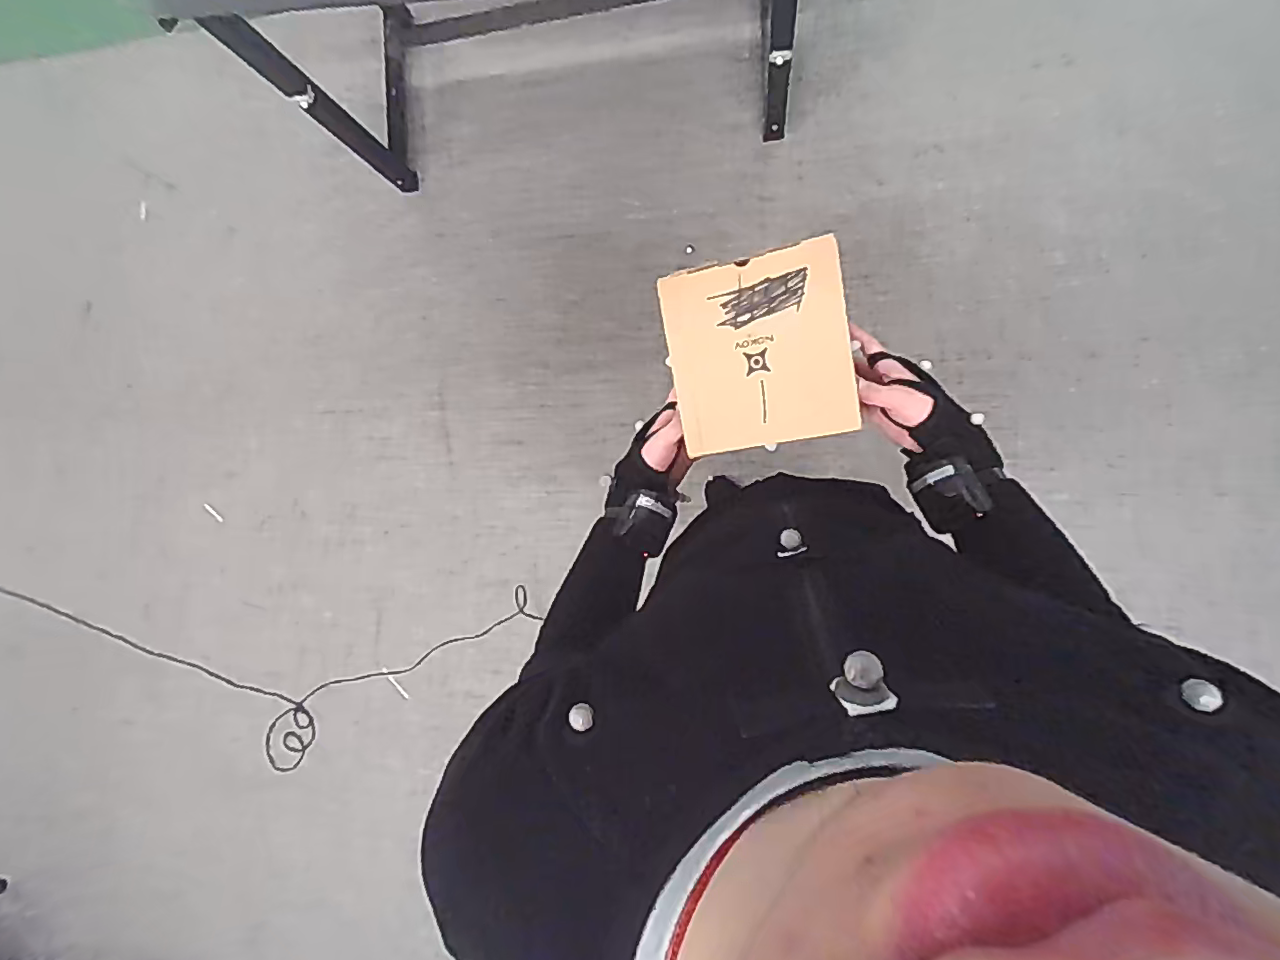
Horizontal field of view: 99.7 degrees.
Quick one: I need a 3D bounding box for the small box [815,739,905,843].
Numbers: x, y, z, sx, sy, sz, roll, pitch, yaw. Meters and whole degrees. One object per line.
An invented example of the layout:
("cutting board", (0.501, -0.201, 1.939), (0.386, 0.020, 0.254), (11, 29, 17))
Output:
("small box", (0.564, 0.800, 1.409), (0.168, 0.176, 0.179), (-15, 89, 13))
